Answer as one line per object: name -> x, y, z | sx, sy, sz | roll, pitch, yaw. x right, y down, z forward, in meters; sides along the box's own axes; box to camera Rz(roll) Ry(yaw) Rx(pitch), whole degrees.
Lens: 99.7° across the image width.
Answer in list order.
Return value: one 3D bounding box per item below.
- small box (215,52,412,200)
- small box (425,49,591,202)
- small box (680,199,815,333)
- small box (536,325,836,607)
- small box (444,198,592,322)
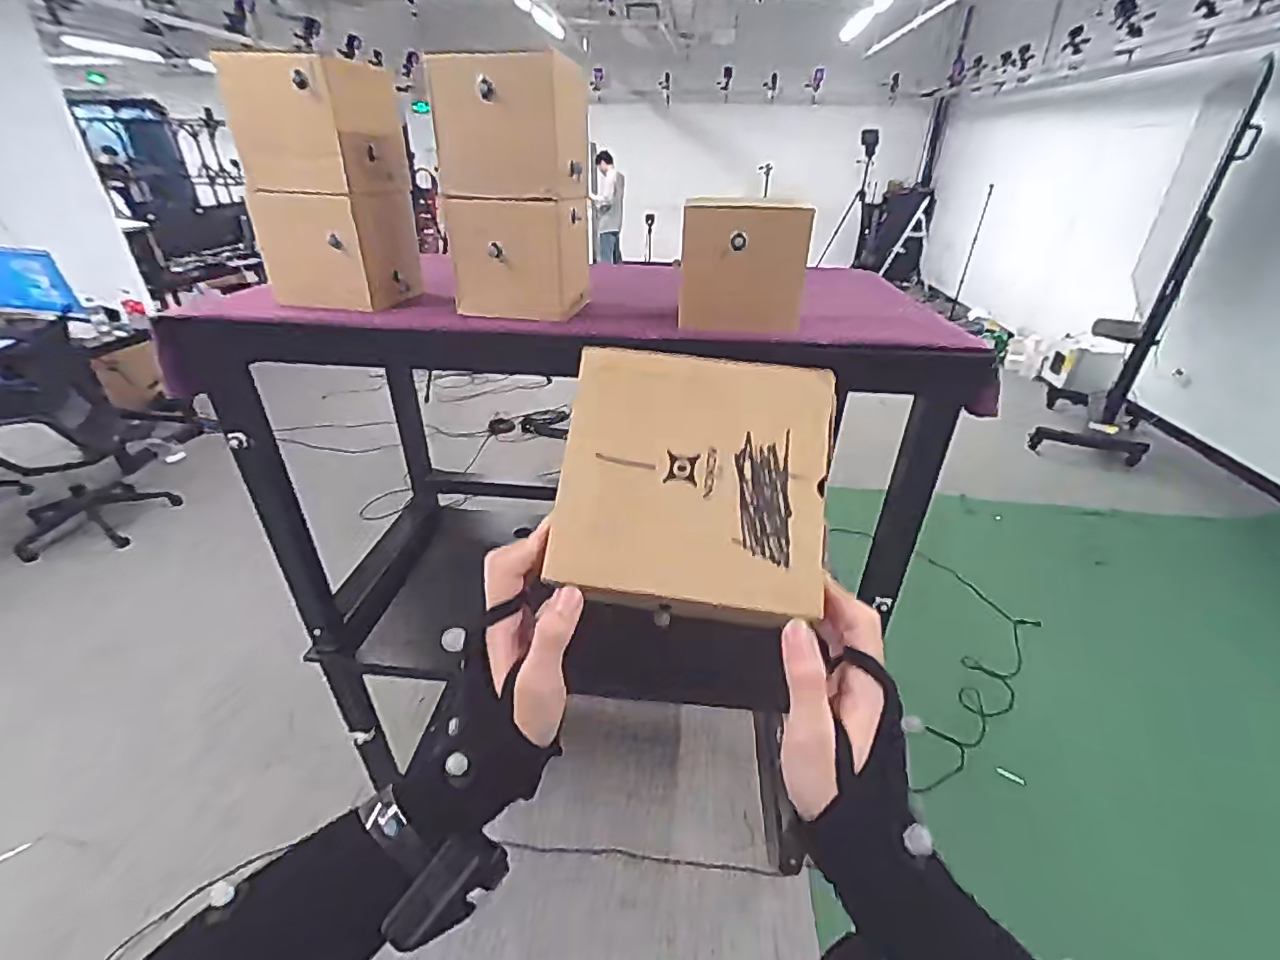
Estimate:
small box -> -0.478, -0.524, 0.820 | 0.179, 0.176, 0.168 | 7, 30, 8
small box -> -0.176, -0.496, 0.779 | 0.179, 0.176, 0.168 | 7, 30, 9
small box -> 0.152, -0.326, 0.818 | 0.179, 0.176, 0.168 | 3, 31, 5
small box -> 0.036, 0.004, 0.423 | 0.179, 0.176, 0.168 | 8, 74, 4
small box -> -0.181, -0.353, 0.859 | 0.179, 0.176, 0.168 | 5, 30, 8
